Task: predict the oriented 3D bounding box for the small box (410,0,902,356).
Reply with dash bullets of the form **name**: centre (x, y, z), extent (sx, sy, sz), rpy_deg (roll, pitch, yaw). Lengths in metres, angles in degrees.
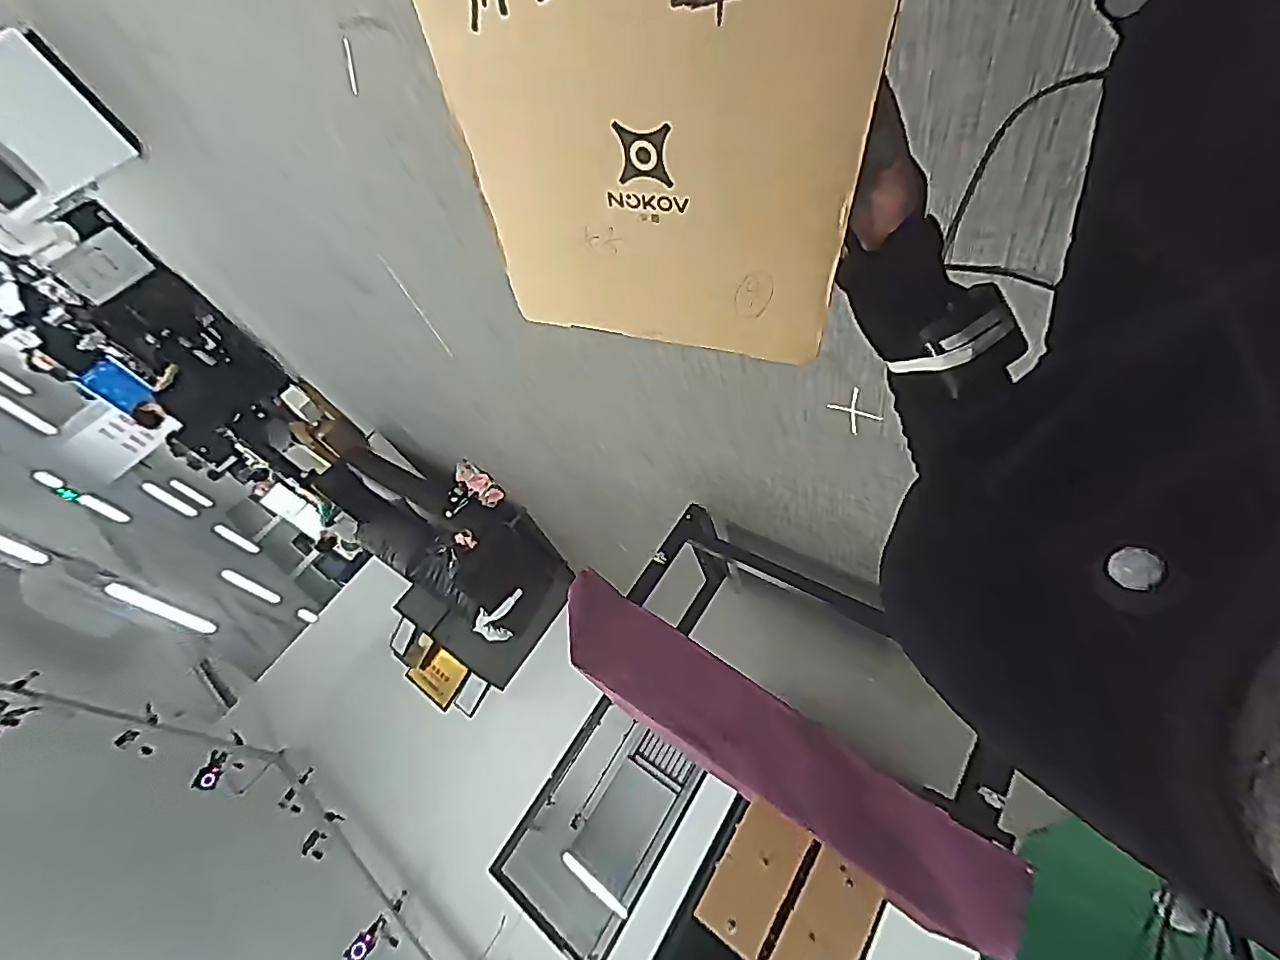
- **small box**: centre (0.025, -0.191, 0.252), extent (0.168, 0.176, 0.179), rpy_deg (13, 148, 13)
